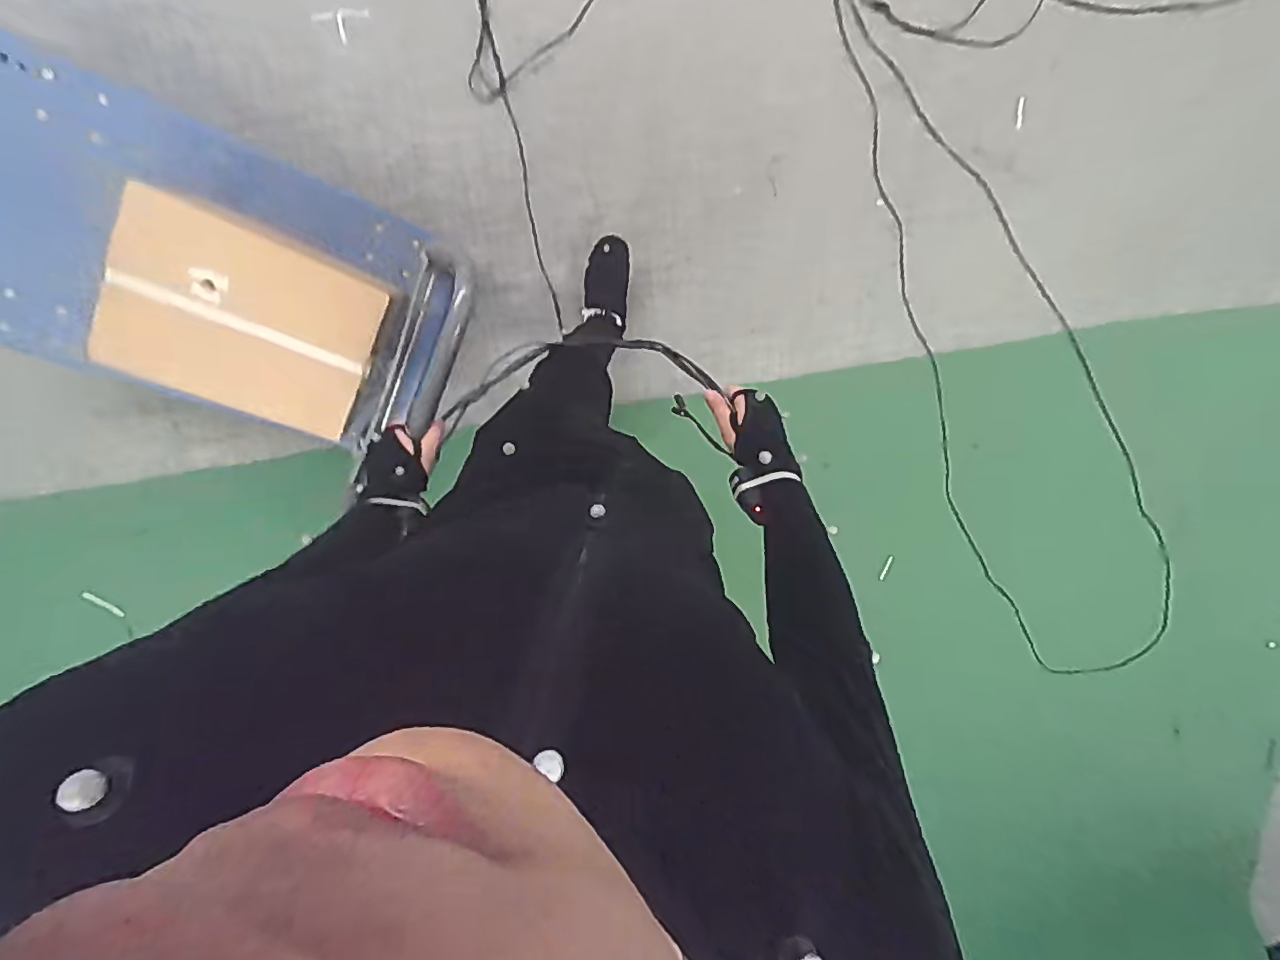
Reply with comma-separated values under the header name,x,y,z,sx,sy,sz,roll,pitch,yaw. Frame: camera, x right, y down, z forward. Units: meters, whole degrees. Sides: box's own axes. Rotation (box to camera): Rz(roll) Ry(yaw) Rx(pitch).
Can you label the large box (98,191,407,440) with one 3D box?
name,x,y,z,sx,sy,sz,roll,pitch,yaw
large box,-0.745,-0.323,1.113,0.408,0.320,0.320,21,101,-23
